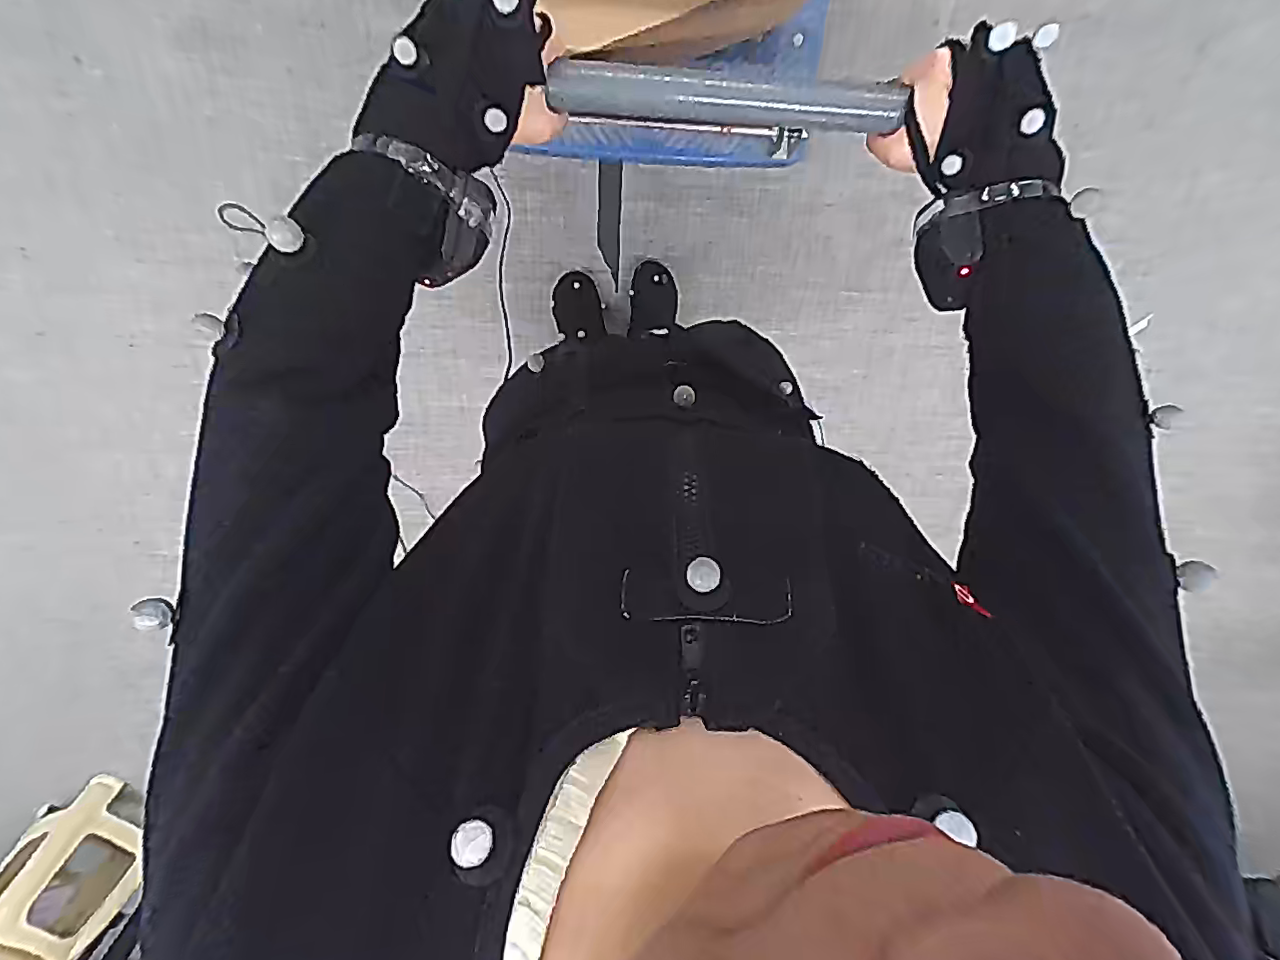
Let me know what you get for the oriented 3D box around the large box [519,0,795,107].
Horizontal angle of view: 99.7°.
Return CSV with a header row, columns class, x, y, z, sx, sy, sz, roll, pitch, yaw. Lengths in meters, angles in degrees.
class,x,y,z,sx,sy,sz,roll,pitch,yaw
large box,0.011,-0.765,0.717,0.408,0.320,0.320,-19,117,3
